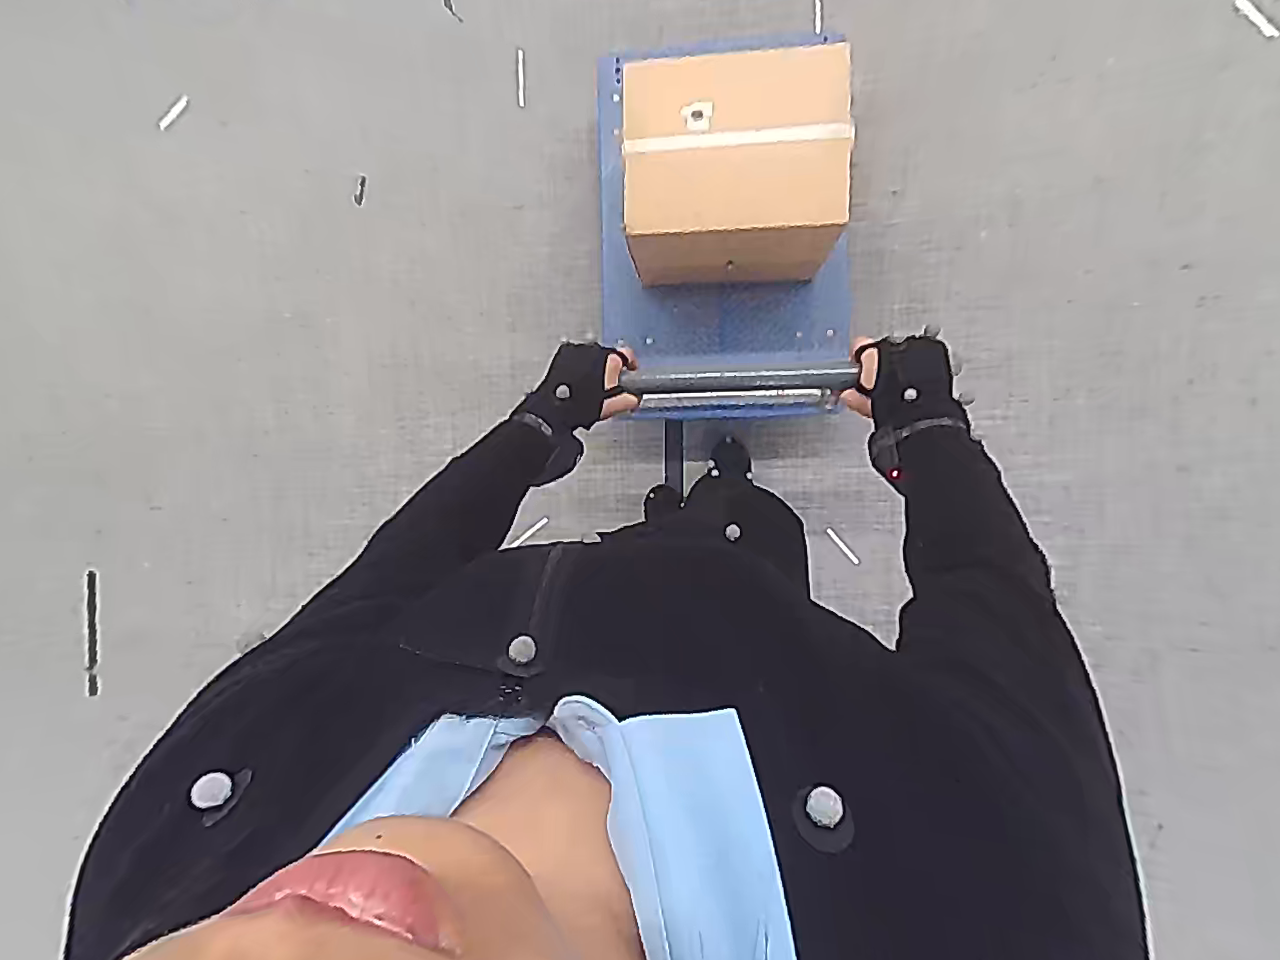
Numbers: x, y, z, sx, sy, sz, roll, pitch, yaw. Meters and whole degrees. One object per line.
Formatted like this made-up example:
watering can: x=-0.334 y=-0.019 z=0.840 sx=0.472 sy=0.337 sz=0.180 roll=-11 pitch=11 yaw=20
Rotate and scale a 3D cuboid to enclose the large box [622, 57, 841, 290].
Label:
large box: x=0.187 y=-0.612 z=1.149 sx=0.408 sy=0.320 sz=0.320 roll=0 pitch=91 yaw=7
